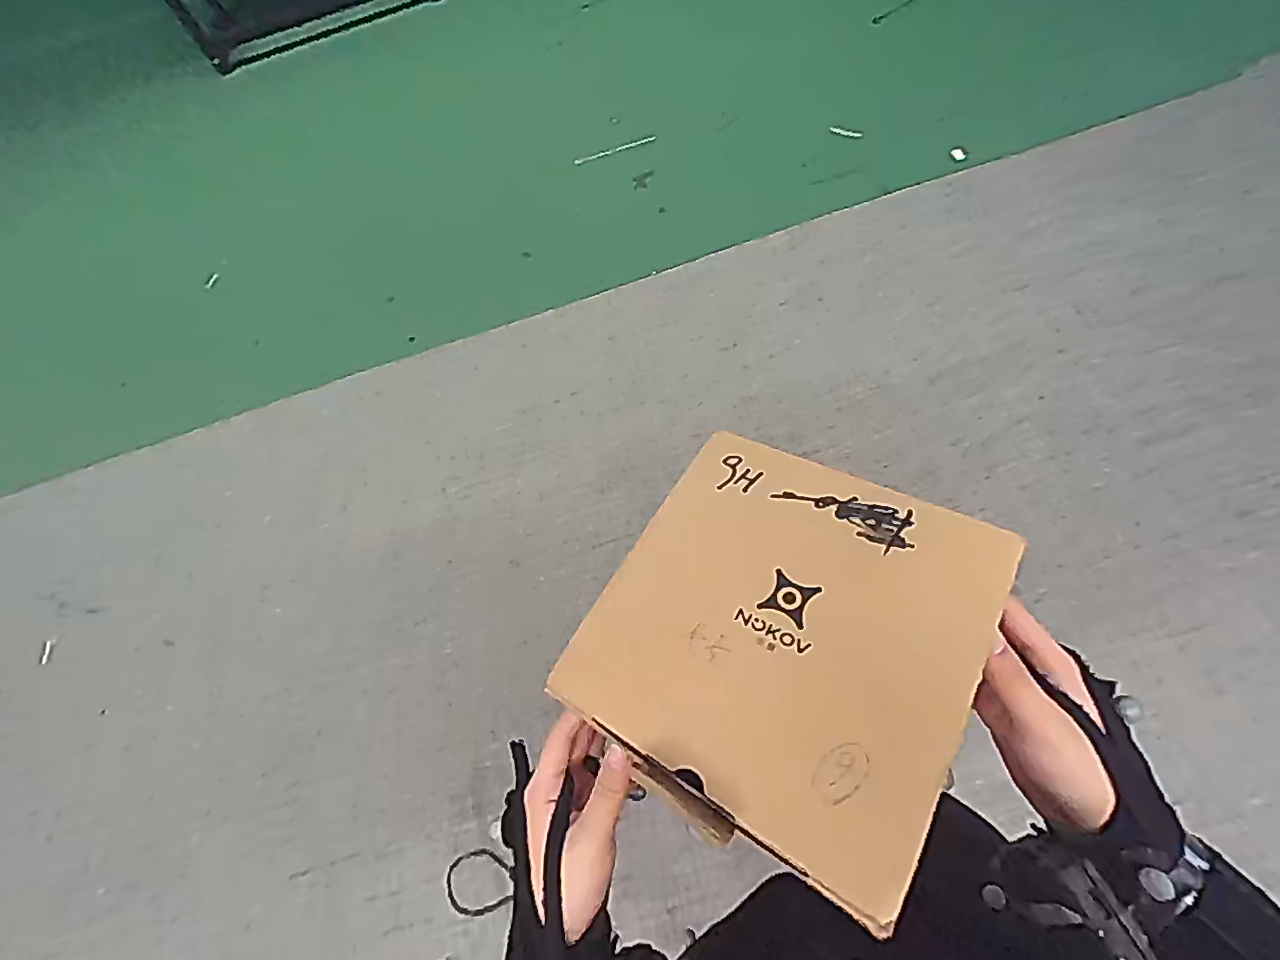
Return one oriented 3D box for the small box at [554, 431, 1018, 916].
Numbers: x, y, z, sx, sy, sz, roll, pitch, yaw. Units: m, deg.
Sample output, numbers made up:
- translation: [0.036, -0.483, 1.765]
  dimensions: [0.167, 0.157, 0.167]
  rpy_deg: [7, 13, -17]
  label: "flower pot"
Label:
- translation: [0.085, 0.107, 0.326]
  dimensions: [0.168, 0.176, 0.179]
  rpy_deg: [24, 67, 27]
  label: "small box"
